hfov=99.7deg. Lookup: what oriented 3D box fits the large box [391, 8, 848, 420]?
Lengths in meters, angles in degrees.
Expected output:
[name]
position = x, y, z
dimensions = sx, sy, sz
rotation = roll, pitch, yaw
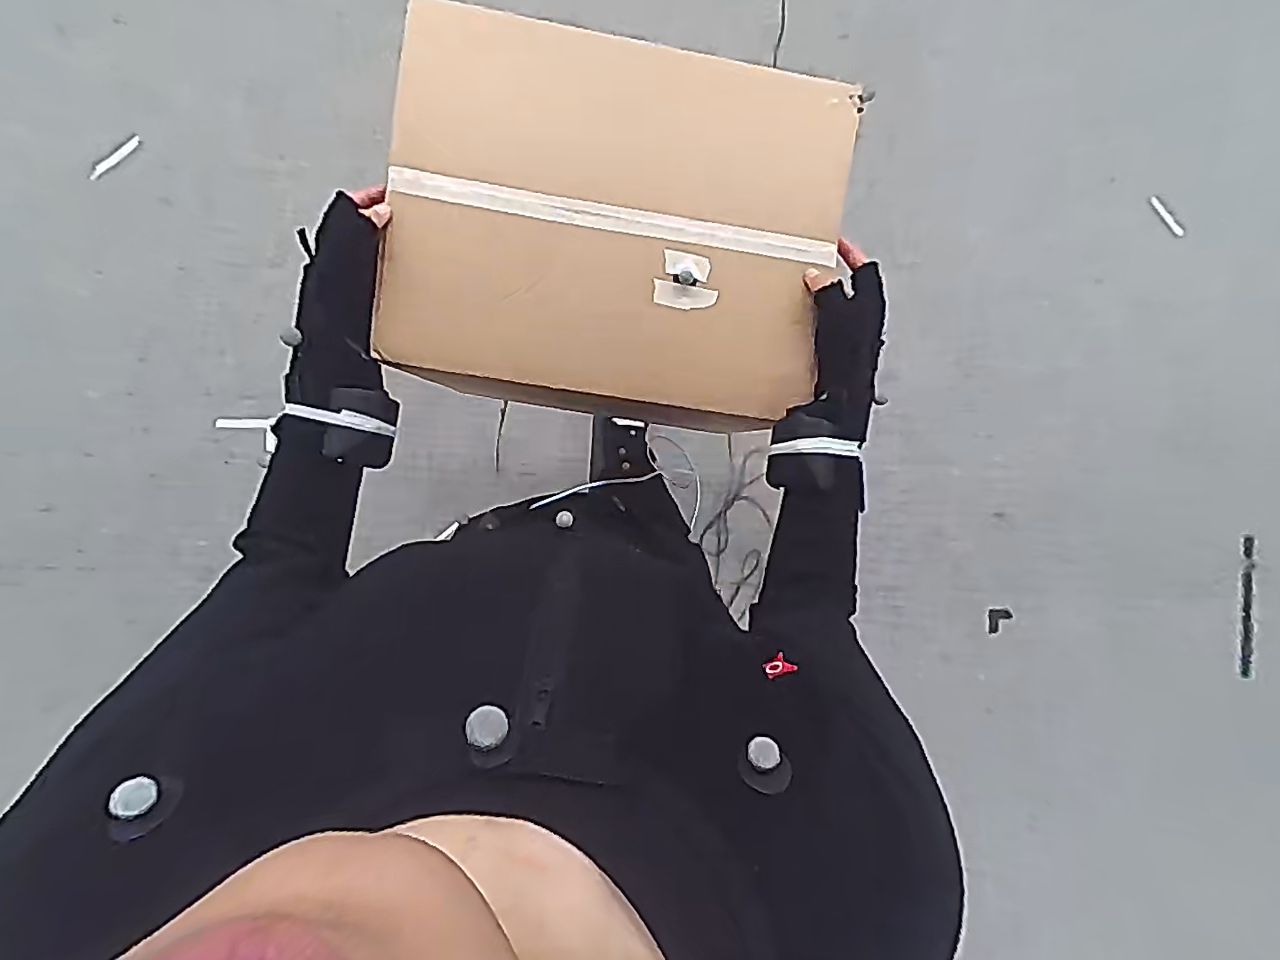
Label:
[large box]
position = -0.029, -0.256, 0.652
dimensions = 0.408, 0.320, 0.320
rotation = 8, 94, -5
